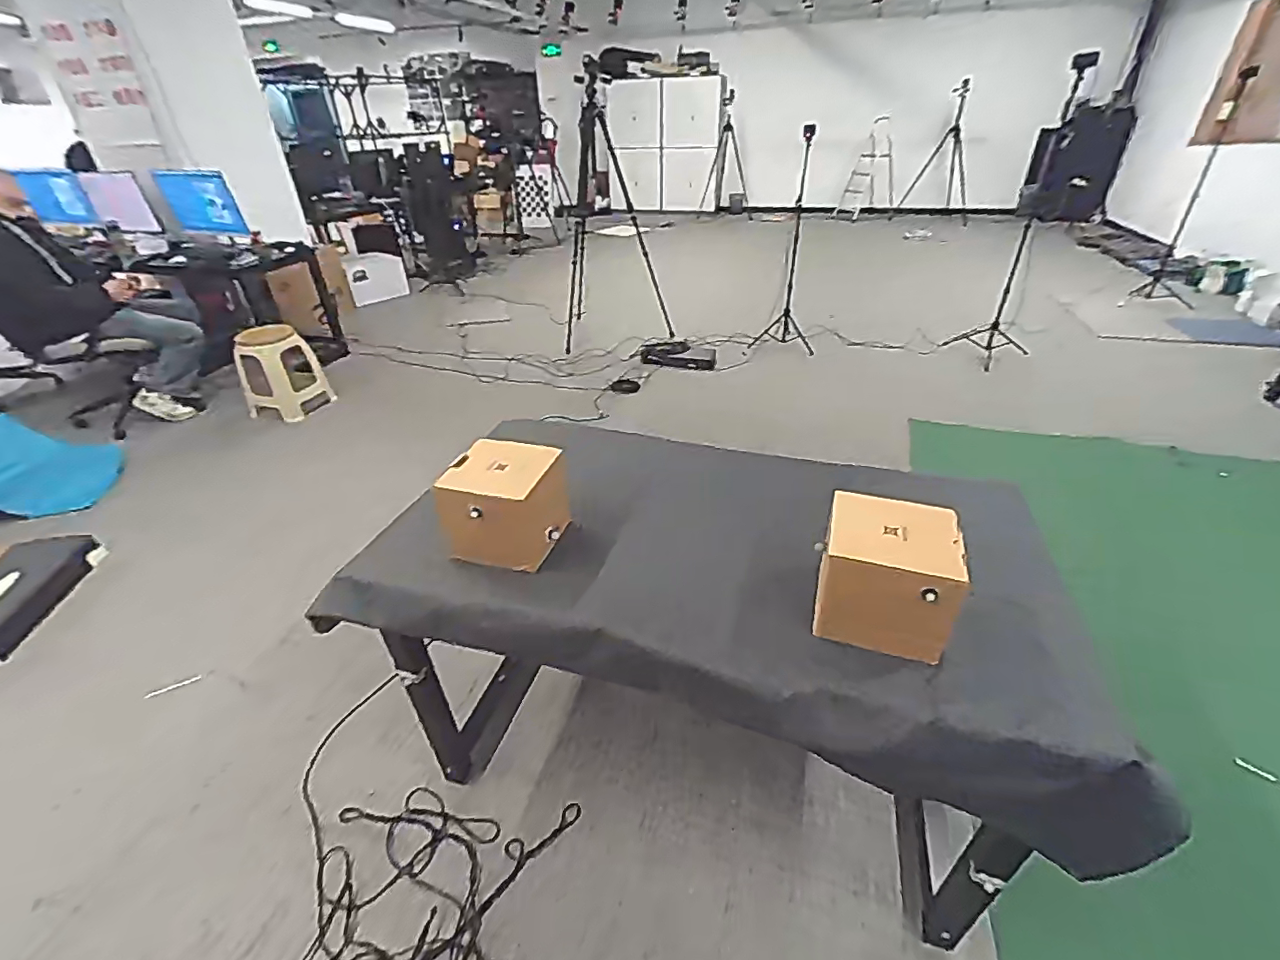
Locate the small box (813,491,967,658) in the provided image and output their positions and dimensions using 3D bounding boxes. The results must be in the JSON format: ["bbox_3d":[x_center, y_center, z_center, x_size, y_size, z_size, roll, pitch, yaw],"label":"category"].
[{"bbox_3d":[0.366,0.140,0.818,0.179,0.176,0.168,10,36,17],"label":"small box"}]

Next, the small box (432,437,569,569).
[{"bbox_3d":[-0.244,0.042,0.994,0.179,0.176,0.168,9,37,14],"label":"small box"}]
